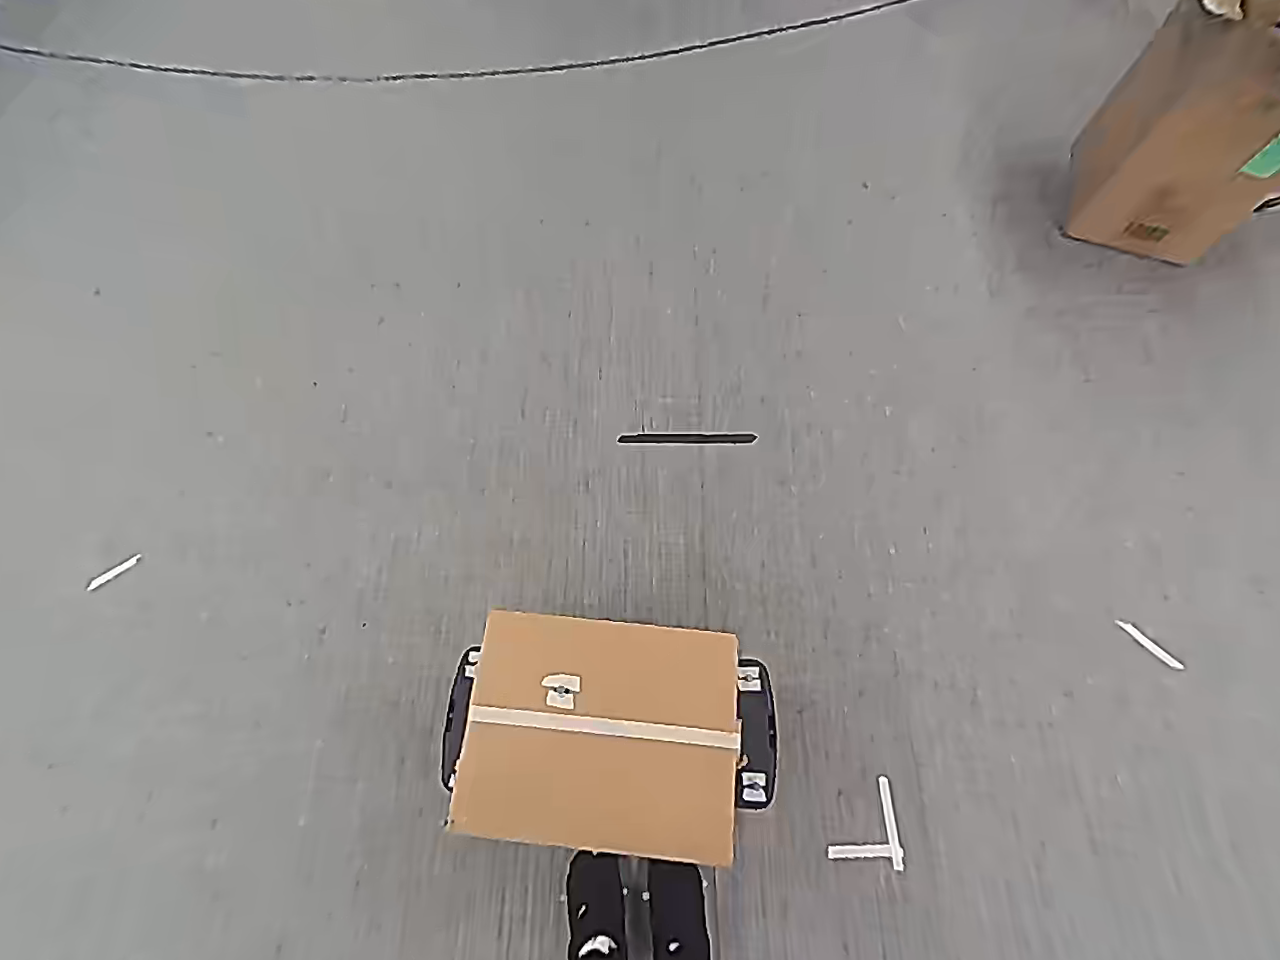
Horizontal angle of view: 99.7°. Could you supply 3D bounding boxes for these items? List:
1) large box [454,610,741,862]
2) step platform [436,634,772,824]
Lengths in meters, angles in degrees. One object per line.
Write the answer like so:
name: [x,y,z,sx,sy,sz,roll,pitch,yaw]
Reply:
large box: [-0.044,0.421,0.936,0.408,0.320,0.320,5,66,4]
step platform: [-0.068,0.519,1.154,0.684,0.204,0.286,6,67,5]
